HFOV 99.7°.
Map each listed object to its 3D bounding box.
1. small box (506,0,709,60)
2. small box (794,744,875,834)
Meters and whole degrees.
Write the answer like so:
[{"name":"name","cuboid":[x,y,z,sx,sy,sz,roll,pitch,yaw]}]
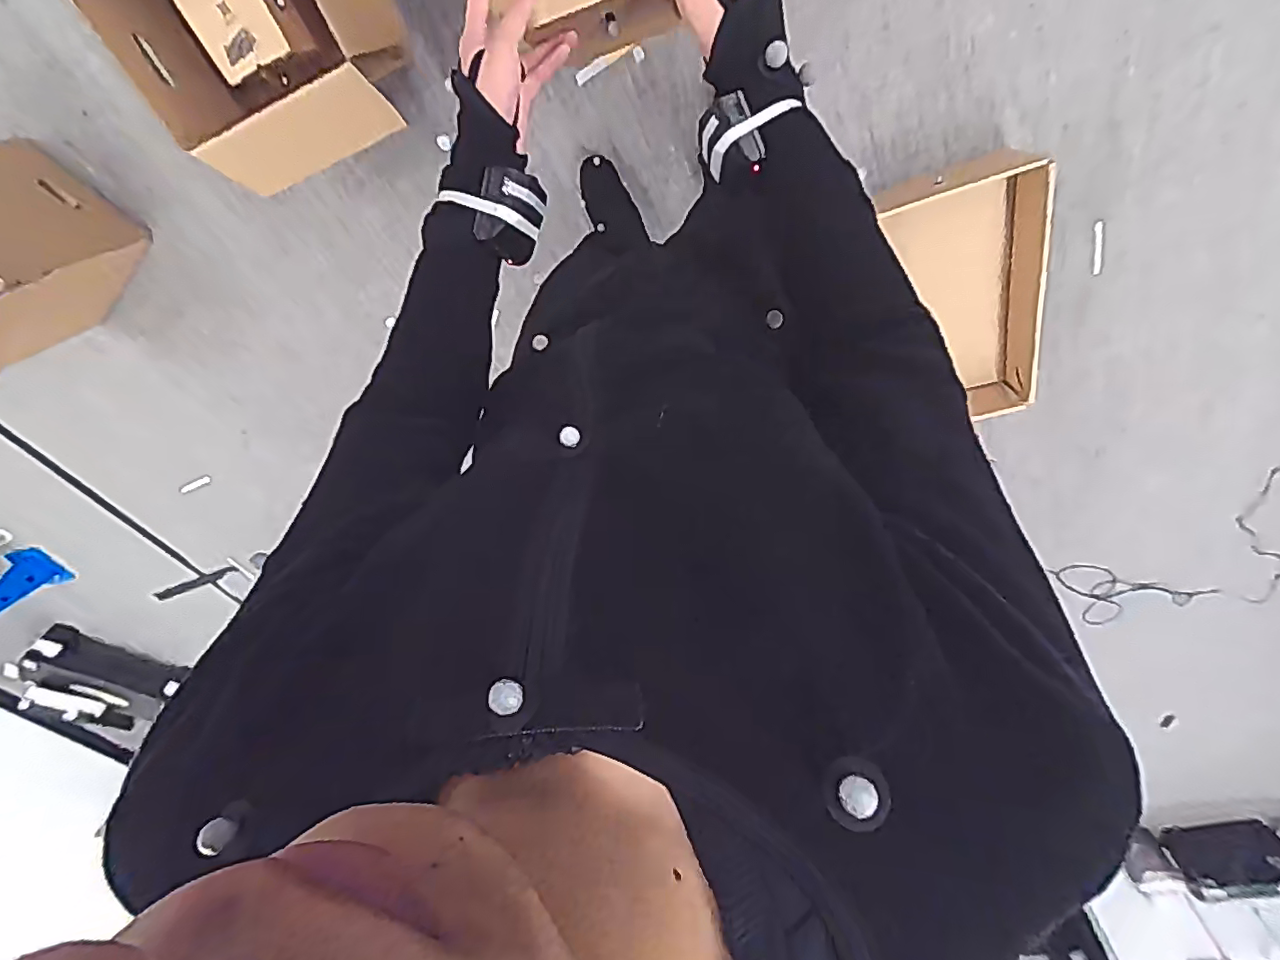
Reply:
[{"name":"small box","cuboid":[-0.032,-0.499,0.468,0.179,0.176,0.168,-10,118,12]},{"name":"small box","cuboid":[0.534,0.848,1.494,0.168,0.176,0.179,-15,126,15]}]
